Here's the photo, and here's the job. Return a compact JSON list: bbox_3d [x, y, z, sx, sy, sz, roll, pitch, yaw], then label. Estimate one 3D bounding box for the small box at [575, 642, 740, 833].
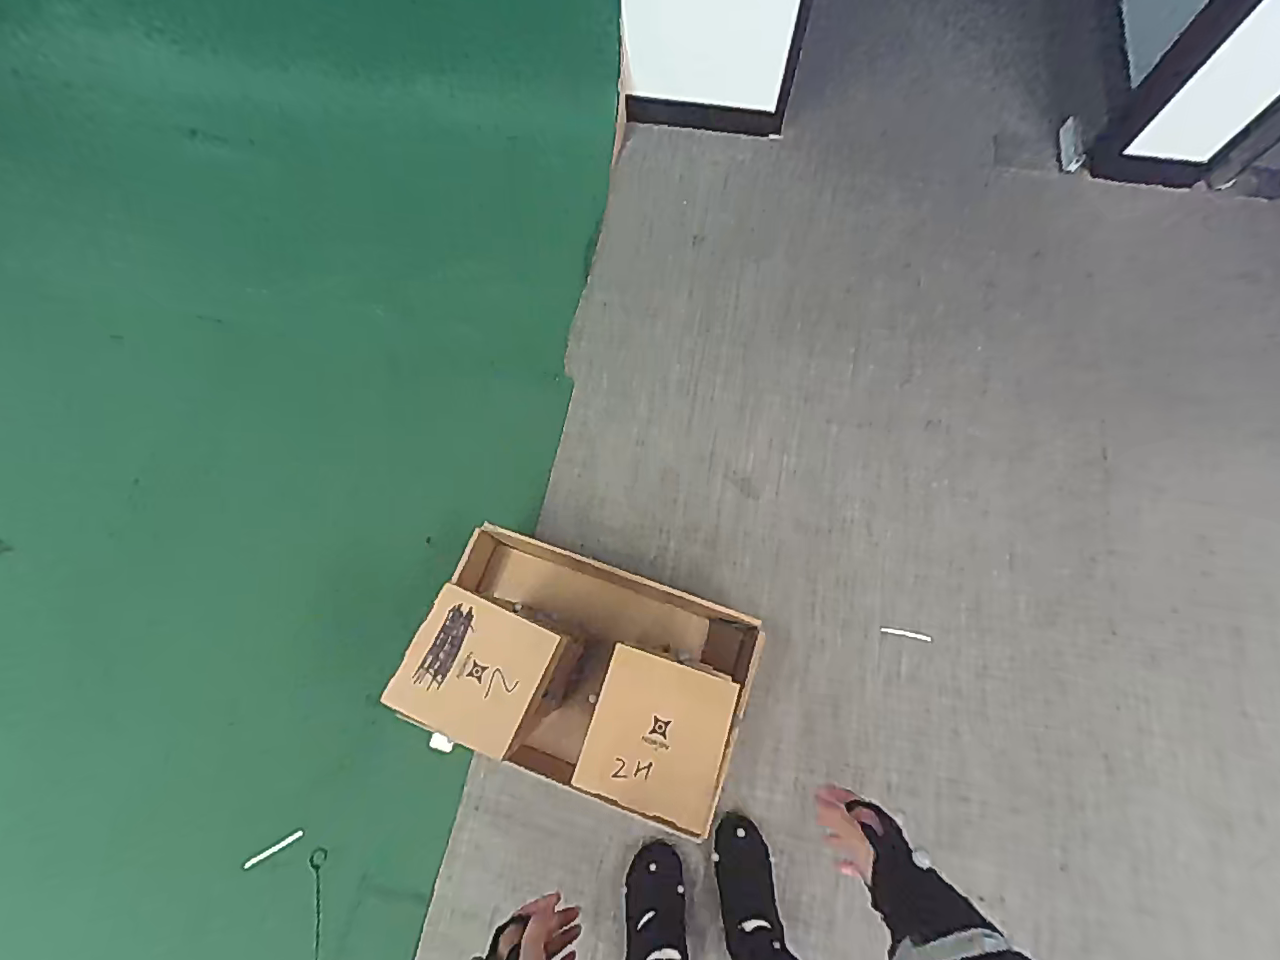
[{"bbox_3d":[0.025,0.335,0.739,0.168,0.176,0.179,17,74,8],"label":"small box"}]
